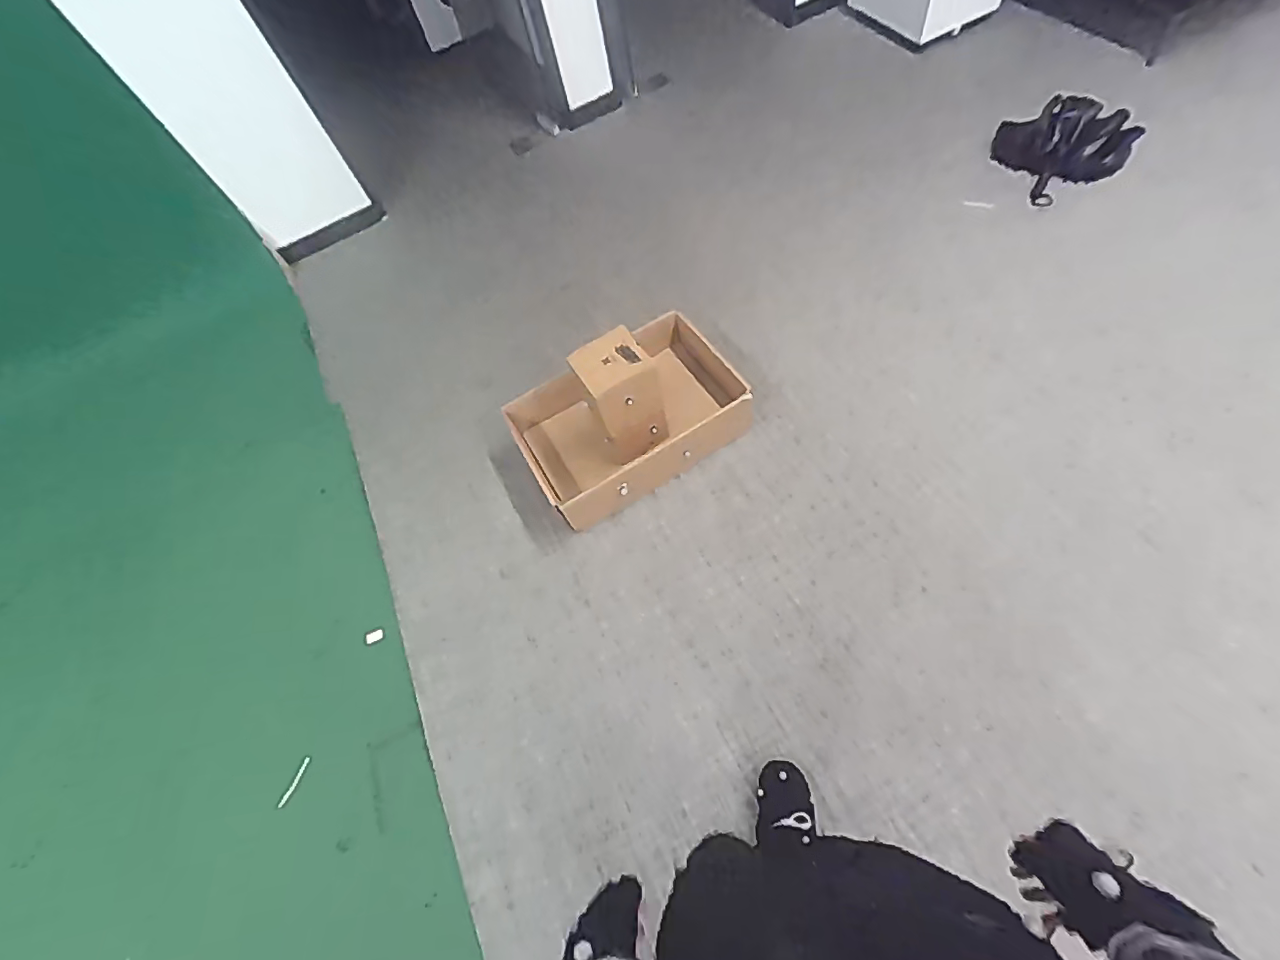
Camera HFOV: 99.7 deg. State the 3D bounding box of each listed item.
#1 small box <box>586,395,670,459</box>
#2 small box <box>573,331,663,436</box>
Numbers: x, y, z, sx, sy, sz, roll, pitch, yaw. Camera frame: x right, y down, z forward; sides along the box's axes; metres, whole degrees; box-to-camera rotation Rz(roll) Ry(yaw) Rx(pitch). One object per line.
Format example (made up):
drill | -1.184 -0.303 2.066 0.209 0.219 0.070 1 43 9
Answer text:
small box | -0.029 -0.184 1.559 0.168 0.176 0.179 -31 59 -7
small box | -0.050 -0.250 1.429 0.179 0.176 0.168 -30 60 -6
